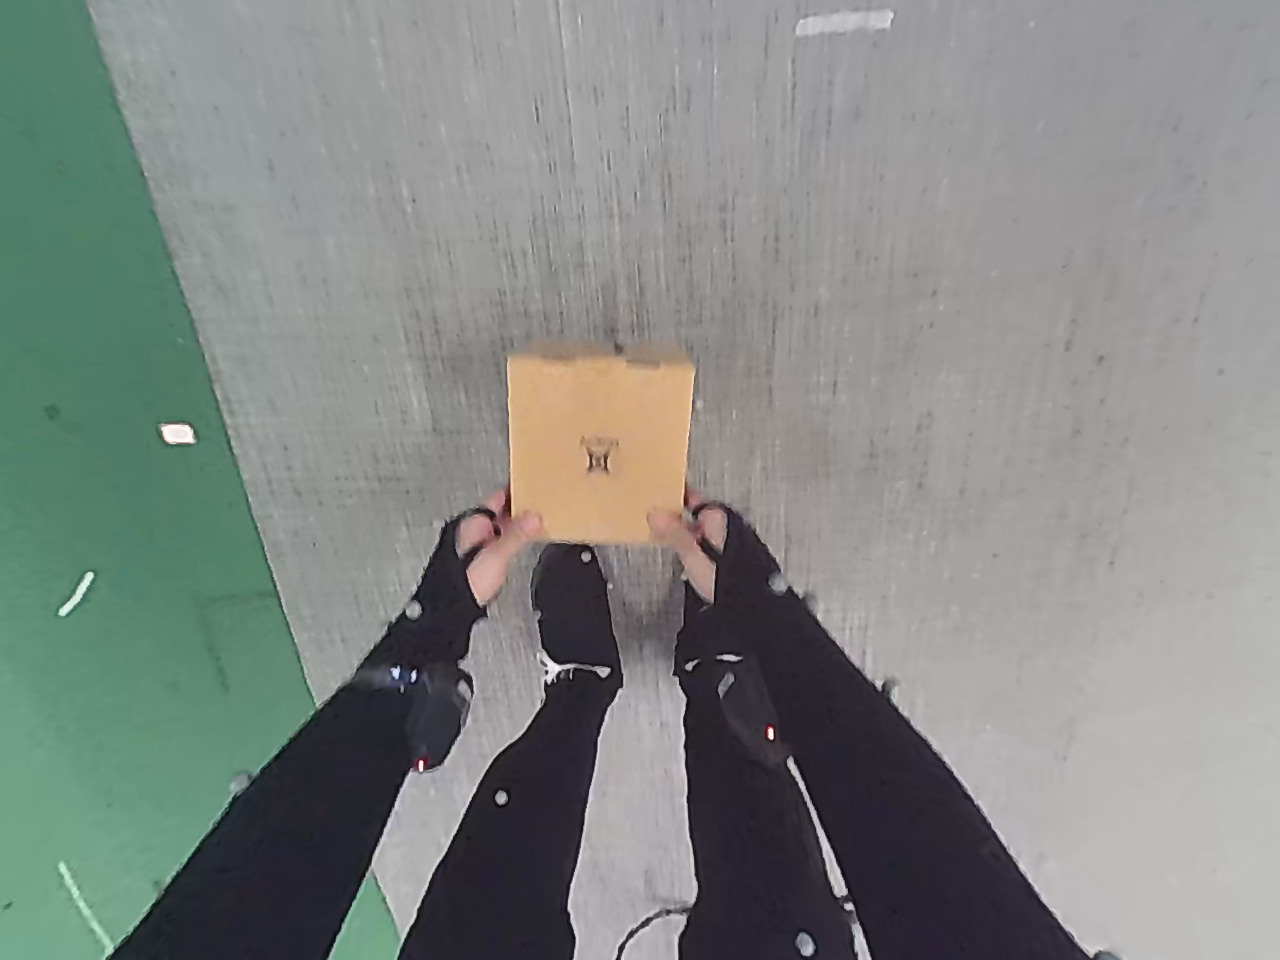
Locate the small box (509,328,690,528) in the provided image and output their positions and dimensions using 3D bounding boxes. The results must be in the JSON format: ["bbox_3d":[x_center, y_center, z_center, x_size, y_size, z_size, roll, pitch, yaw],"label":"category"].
[{"bbox_3d":[-0.041,-0.064,0.586,0.168,0.176,0.179,2,110,-2],"label":"small box"}]
